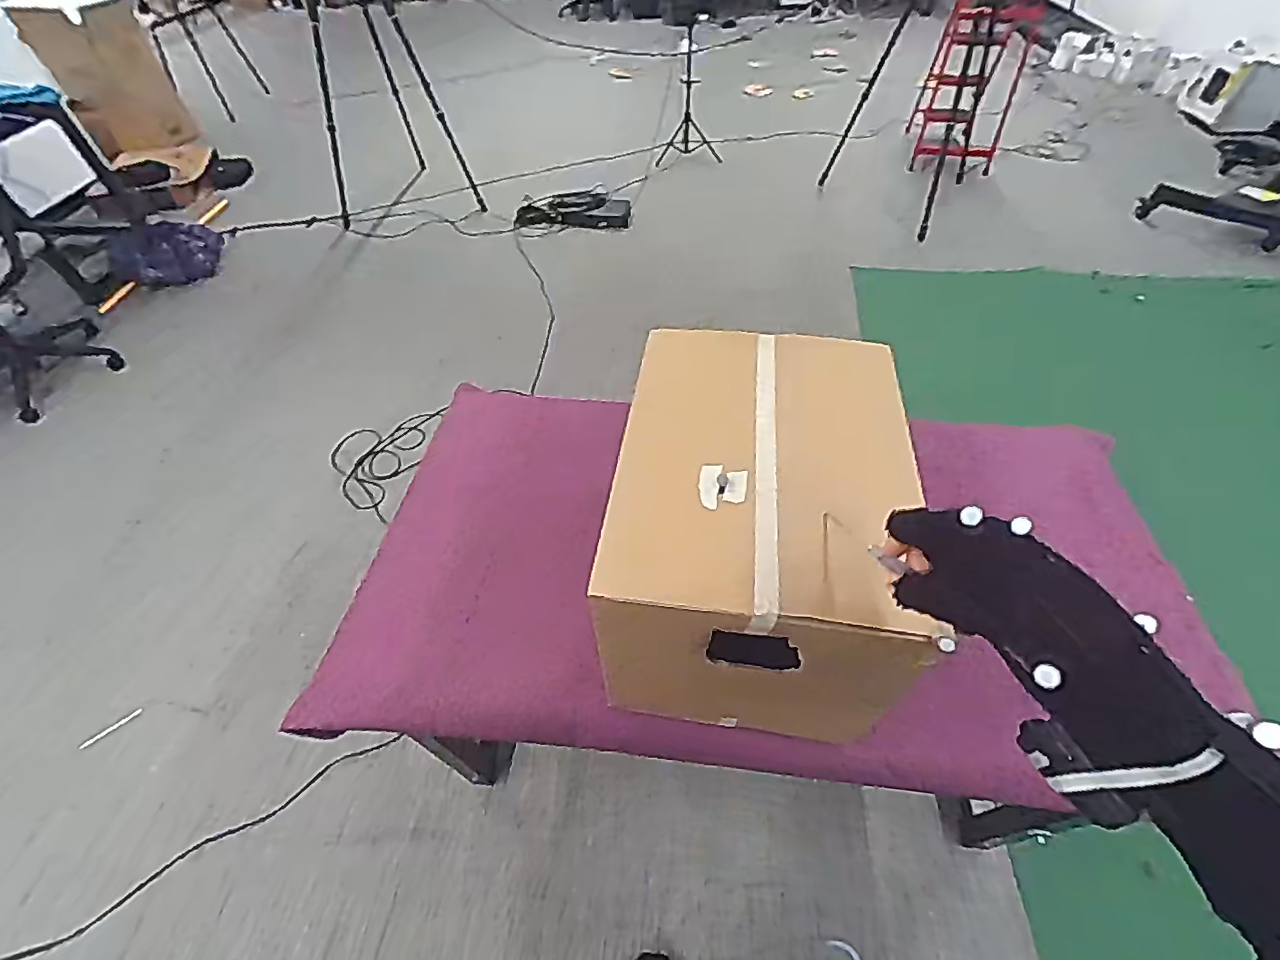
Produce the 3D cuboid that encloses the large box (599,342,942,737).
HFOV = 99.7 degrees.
[{"bbox_3d":[0.140,0.072,0.719,0.320,0.320,0.408,6,51,7],"label":"large box"}]
